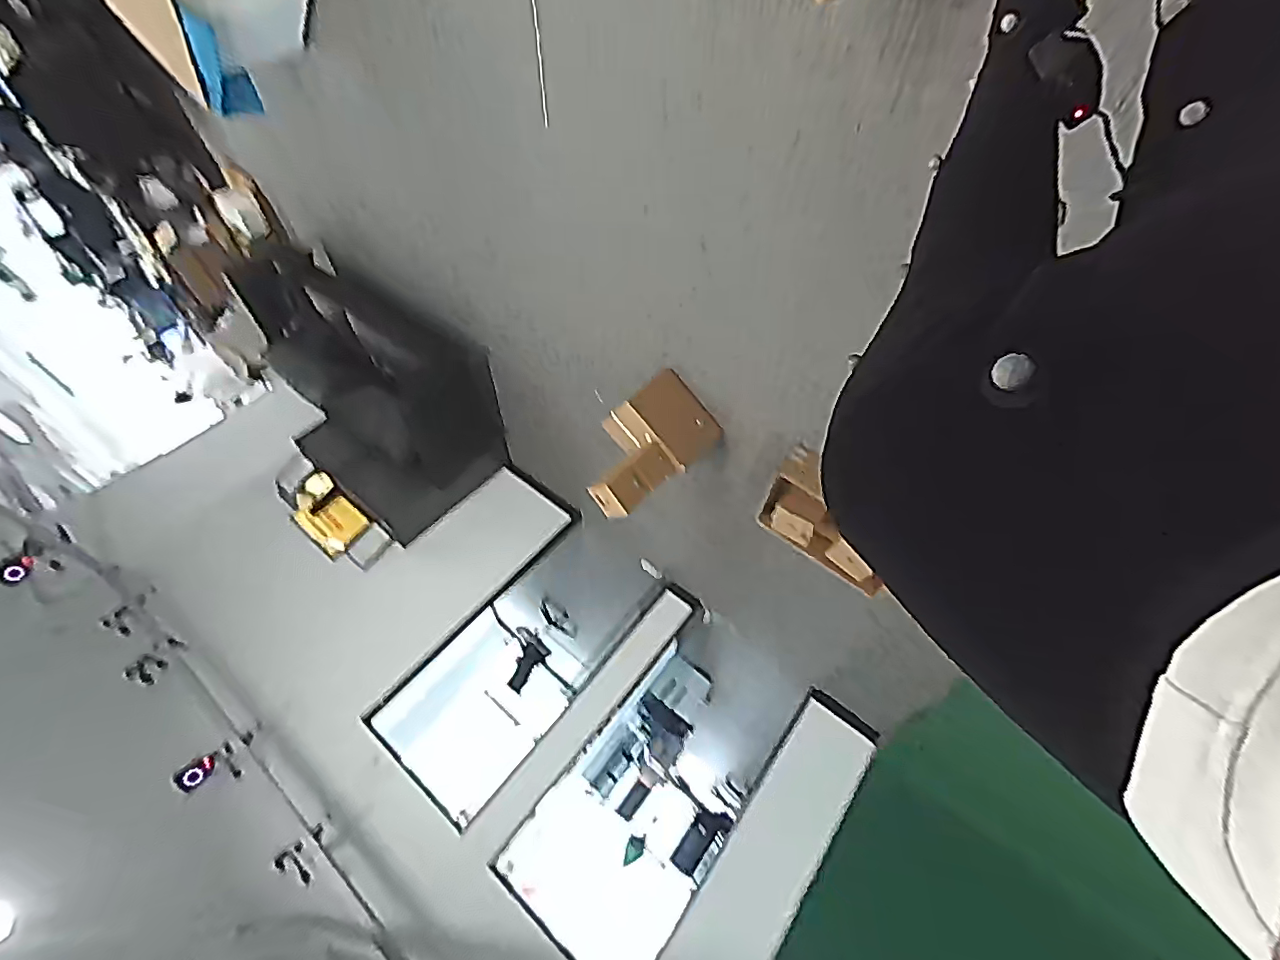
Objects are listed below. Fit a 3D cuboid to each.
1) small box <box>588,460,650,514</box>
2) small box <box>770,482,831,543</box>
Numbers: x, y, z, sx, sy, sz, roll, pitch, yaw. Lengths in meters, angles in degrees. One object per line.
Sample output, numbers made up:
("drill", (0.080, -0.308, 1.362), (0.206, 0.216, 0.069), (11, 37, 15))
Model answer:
("small box", (-0.089, 0.029, 2.367), (0.168, 0.176, 0.179), (55, 149, -16))
("small box", (0.697, 0.134, 2.344), (0.179, 0.176, 0.168), (32, 149, 23))
